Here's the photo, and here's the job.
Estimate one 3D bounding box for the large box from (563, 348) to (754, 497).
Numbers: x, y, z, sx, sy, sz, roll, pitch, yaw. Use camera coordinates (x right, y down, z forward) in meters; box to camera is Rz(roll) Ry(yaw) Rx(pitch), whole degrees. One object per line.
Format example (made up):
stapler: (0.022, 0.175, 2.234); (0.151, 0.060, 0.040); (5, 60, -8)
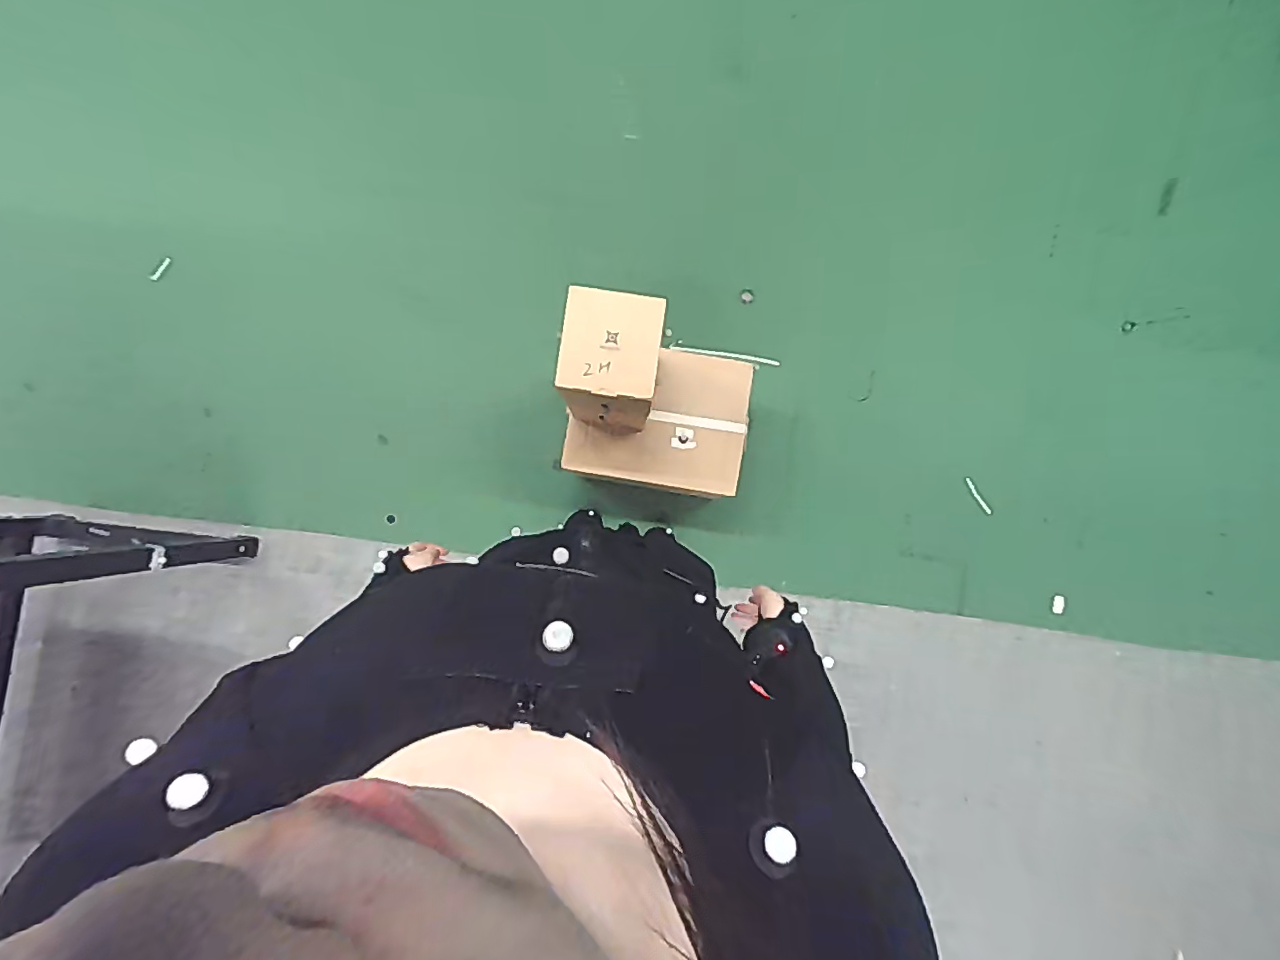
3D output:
large box: (0.037, -0.138, 1.367); (0.408, 0.320, 0.320); (9, 88, -1)

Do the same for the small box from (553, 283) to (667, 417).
small box: (-0.051, -0.221, 0.962); (0.168, 0.176, 0.179); (8, 87, 0)

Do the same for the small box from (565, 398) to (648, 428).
small box: (-0.055, -0.216, 1.127); (0.168, 0.176, 0.179); (9, 87, -1)
